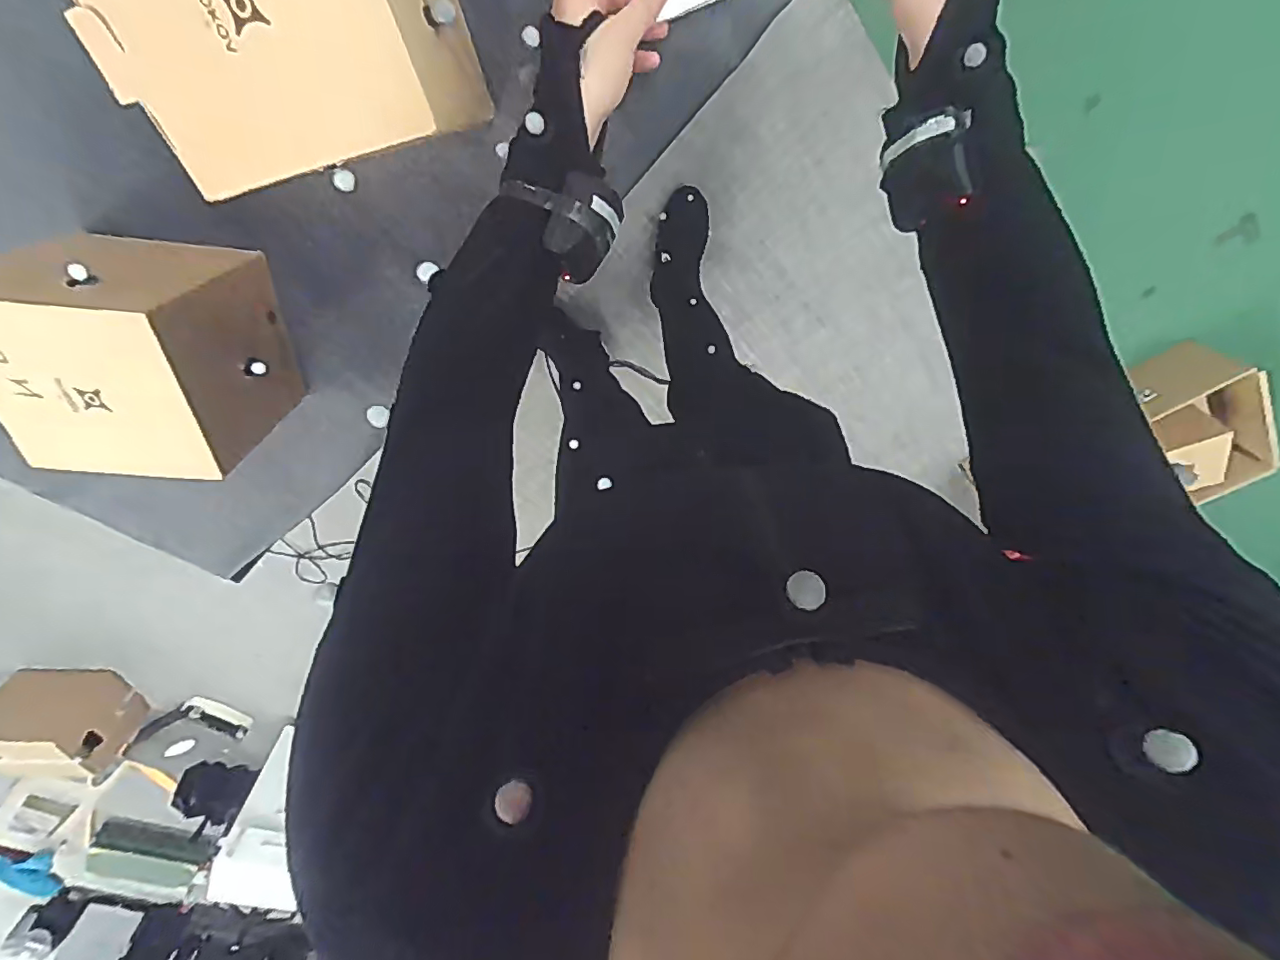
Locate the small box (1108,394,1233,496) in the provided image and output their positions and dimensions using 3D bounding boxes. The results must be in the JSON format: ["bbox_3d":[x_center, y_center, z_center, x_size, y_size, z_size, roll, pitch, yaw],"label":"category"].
[{"bbox_3d":[1.373,-0.093,1.415,0.168,0.176,0.179,-21,126,17],"label":"small box"}]

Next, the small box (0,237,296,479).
[{"bbox_3d":[-0.466,-0.121,0.519,0.179,0.176,0.168,5,128,-3],"label":"small box"}]

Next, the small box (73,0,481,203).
[{"bbox_3d":[-0.225,-0.313,0.365,0.179,0.176,0.168,-10,127,10],"label":"small box"}]
